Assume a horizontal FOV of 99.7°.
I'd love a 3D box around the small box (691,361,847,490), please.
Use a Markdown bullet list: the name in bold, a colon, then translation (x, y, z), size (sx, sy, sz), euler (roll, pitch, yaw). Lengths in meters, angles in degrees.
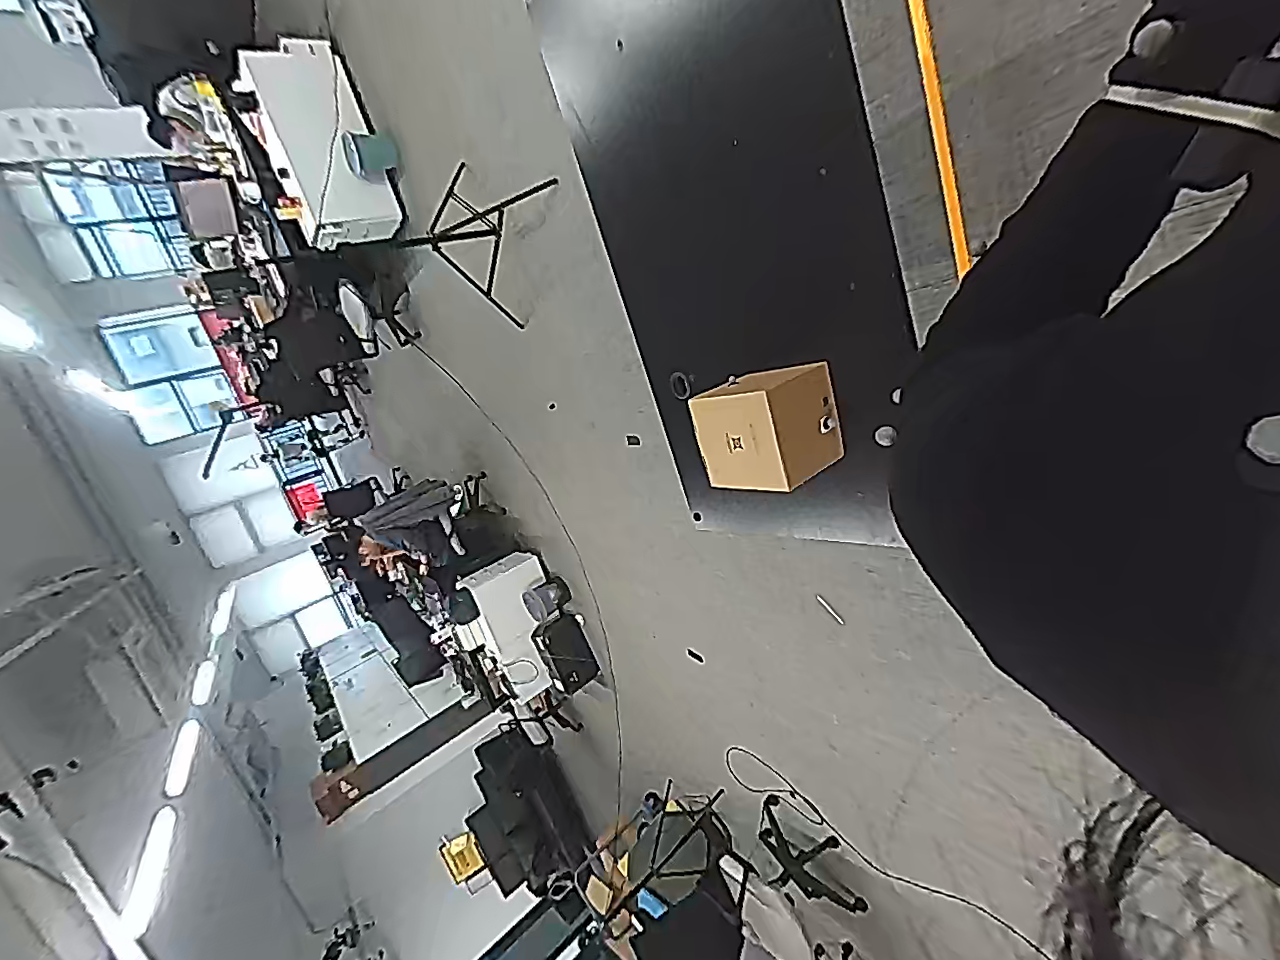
- **small box**: translation (0.221, -0.094, 0.926), size (0.179, 0.176, 0.168), euler (2, 115, 53)
